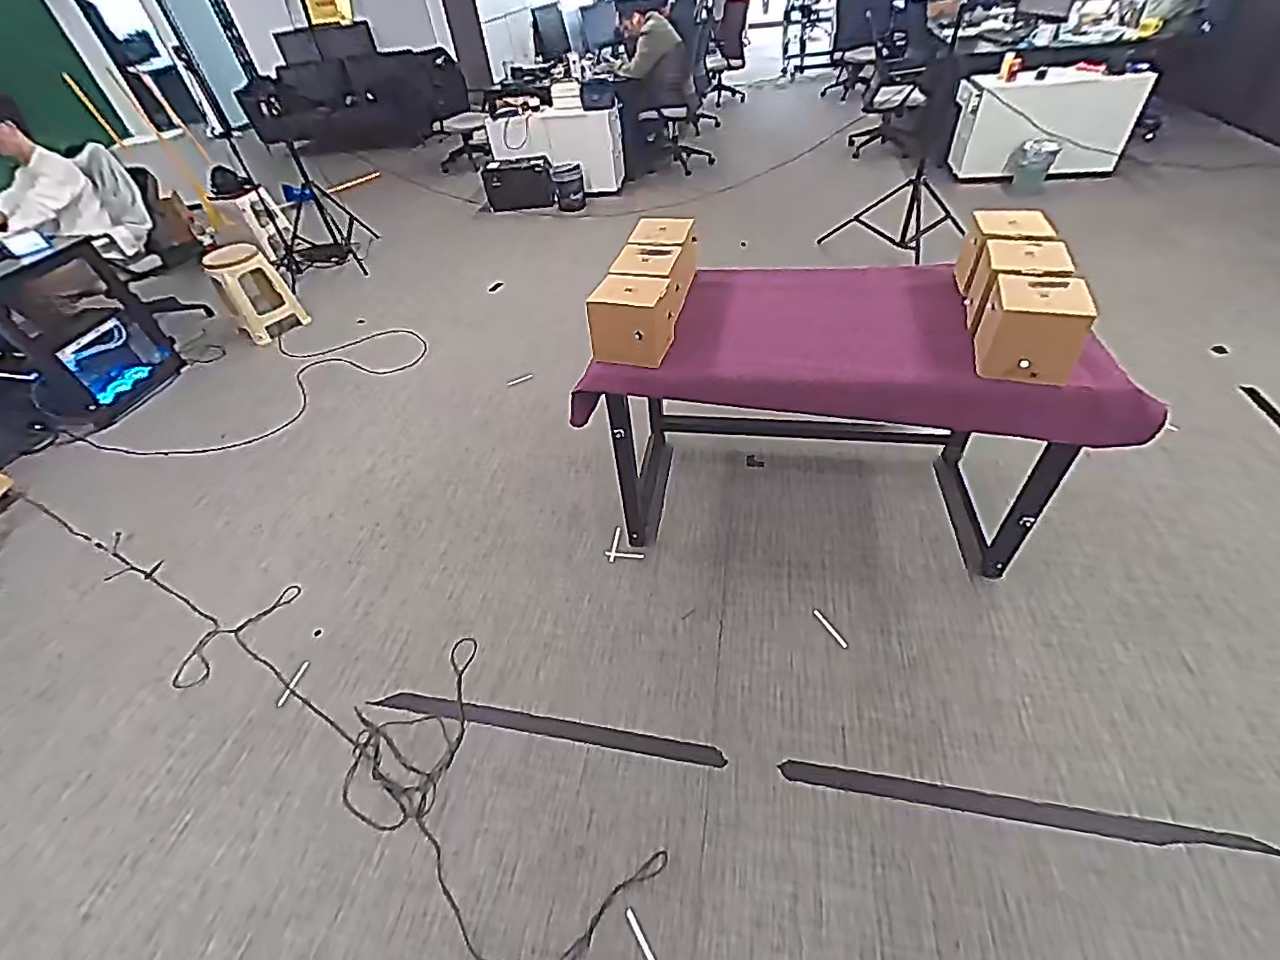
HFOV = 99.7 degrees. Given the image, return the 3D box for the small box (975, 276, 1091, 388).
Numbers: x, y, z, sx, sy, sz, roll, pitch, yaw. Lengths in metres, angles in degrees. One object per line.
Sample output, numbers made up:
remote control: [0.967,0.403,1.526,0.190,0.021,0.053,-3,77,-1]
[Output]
small box: [0.864,-0.332,1.205,0.168,0.176,0.179,11,51,22]

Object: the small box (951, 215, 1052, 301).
small box: [0.966,-0.600,1.464,0.168,0.176,0.179,7,46,13]

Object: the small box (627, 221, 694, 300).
small box: [0.067,-0.667,1.640,0.168,0.176,0.179,7,47,14]
